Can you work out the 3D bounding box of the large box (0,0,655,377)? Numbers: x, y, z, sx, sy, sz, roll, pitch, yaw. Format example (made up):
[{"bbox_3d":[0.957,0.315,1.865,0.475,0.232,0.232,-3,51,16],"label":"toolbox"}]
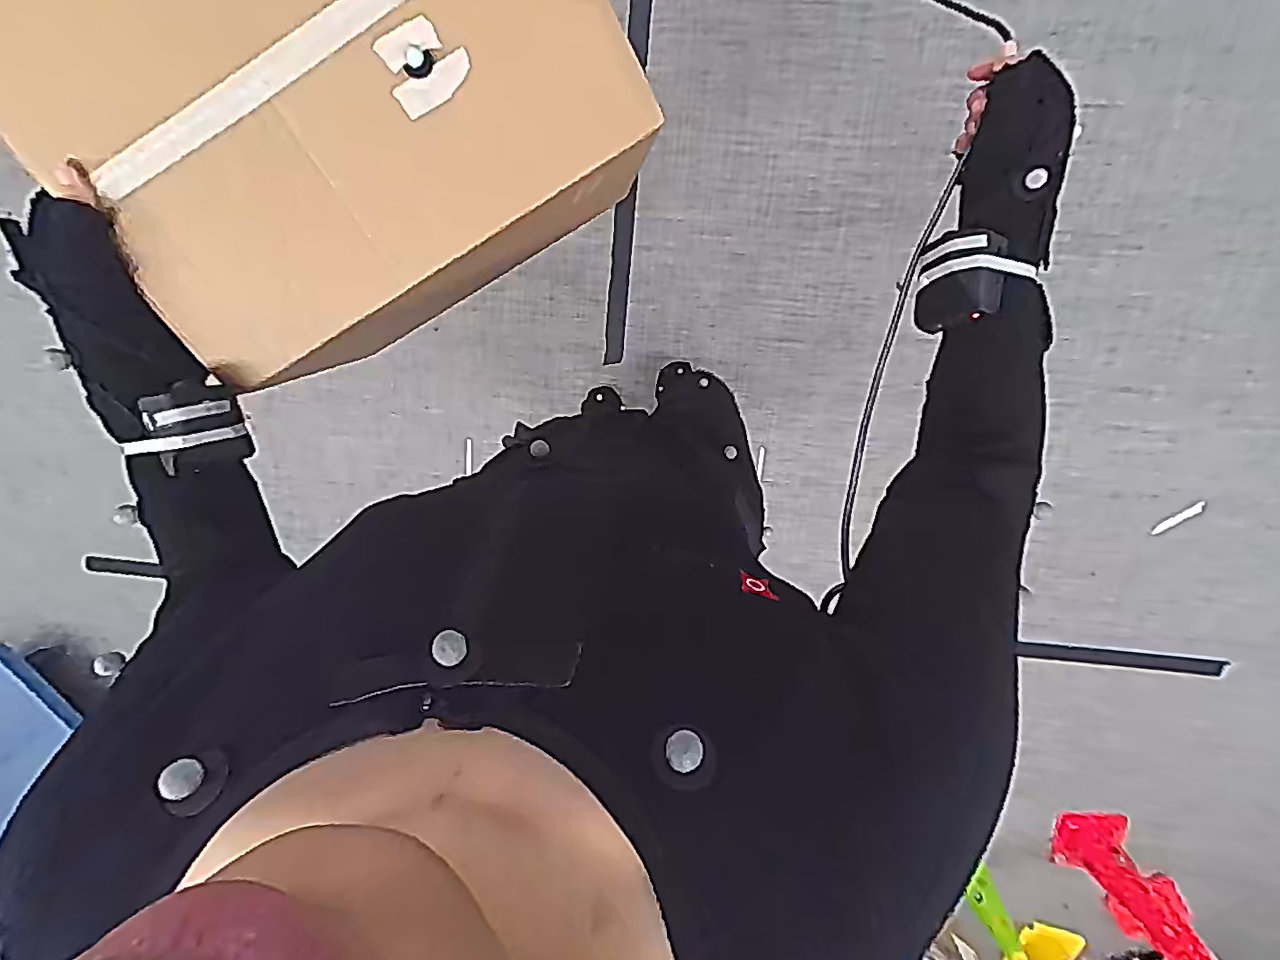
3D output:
[{"bbox_3d":[-0.247,-0.349,0.525,0.408,0.320,0.320,-31,109,3],"label":"large box"}]
